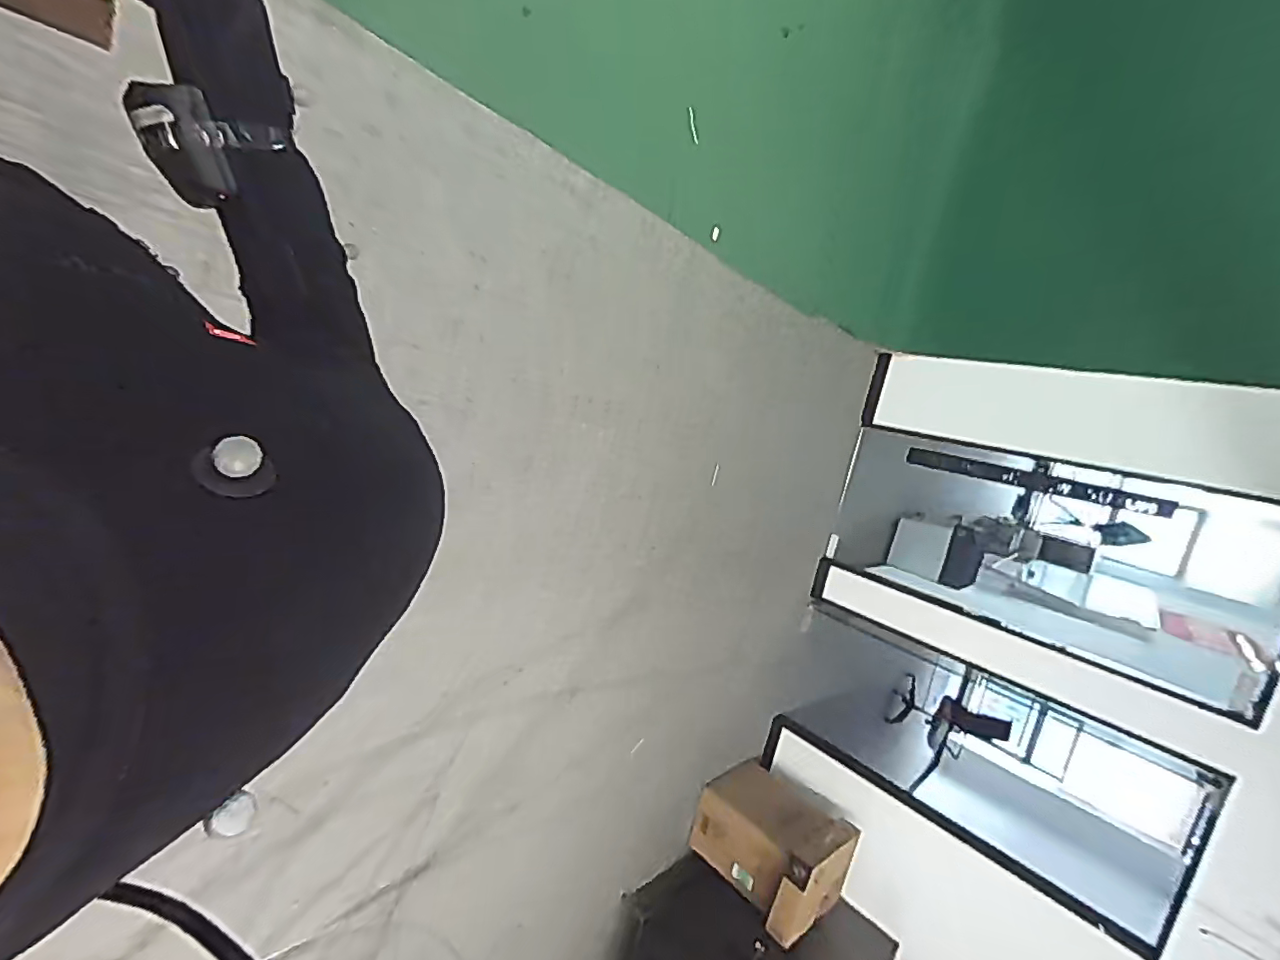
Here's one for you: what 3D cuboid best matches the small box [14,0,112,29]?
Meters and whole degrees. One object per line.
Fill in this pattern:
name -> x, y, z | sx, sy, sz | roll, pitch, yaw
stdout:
small box -> -0.423, -0.420, 0.318 | 0.168, 0.176, 0.179 | 1, 111, -45
